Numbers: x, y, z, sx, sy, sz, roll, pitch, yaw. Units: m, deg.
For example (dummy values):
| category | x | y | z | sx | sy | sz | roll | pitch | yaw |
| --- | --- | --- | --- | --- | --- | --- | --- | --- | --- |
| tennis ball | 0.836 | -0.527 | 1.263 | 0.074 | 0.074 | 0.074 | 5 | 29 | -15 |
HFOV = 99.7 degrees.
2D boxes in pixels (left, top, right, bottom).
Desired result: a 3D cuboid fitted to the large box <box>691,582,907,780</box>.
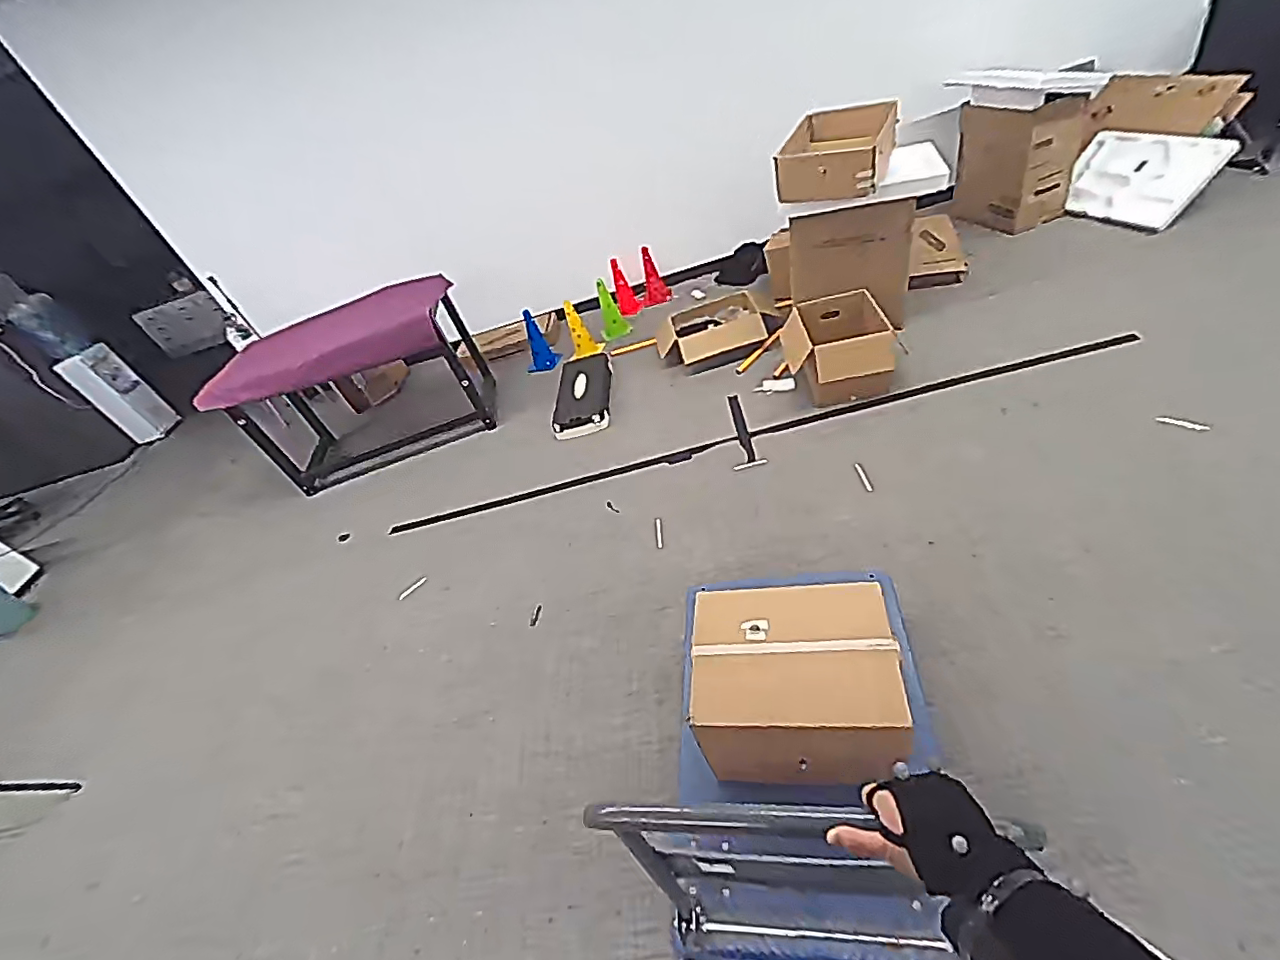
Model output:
| category | x | y | z | sx | sy | sz | roll | pitch | yaw |
| --- | --- | --- | --- | --- | --- | --- | --- | --- | --- |
| large box | 0.349 | 0.461 | 1.221 | 0.408 | 0.320 | 0.320 | -8 | 41 | 17 |
